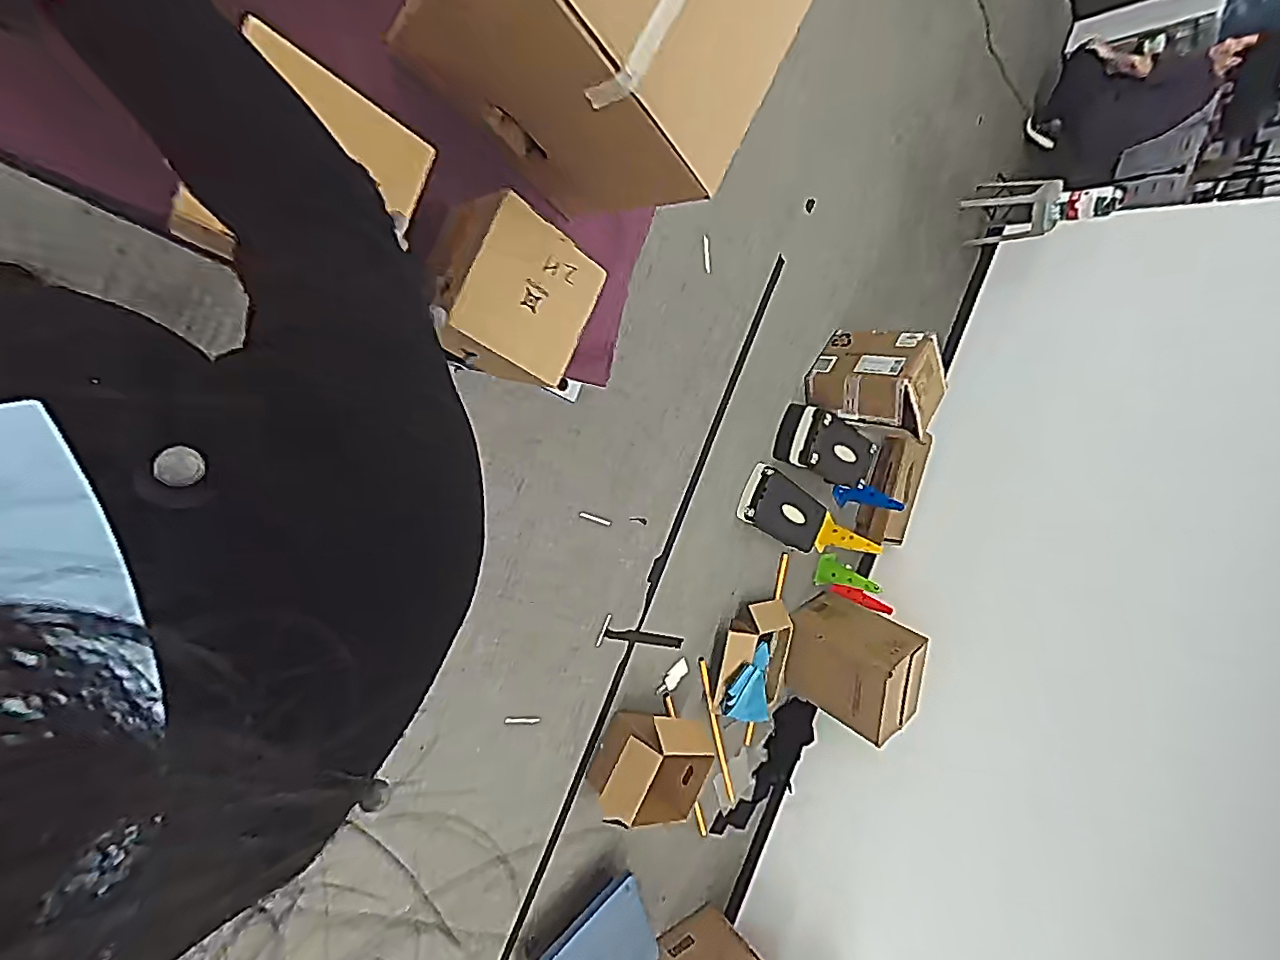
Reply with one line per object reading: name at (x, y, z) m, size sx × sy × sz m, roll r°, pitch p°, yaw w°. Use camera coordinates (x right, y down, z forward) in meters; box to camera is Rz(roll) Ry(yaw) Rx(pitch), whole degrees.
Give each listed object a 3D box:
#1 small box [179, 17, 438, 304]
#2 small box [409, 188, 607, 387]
small box at (-0.342, -0.300, 0.553) m, size 0.168 × 0.176 × 0.179 m, roll 21°, pitch 90°, yaw -44°
small box at (-0.181, -0.243, 0.717) m, size 0.168 × 0.176 × 0.179 m, roll 28°, pitch 83°, yaw -44°
